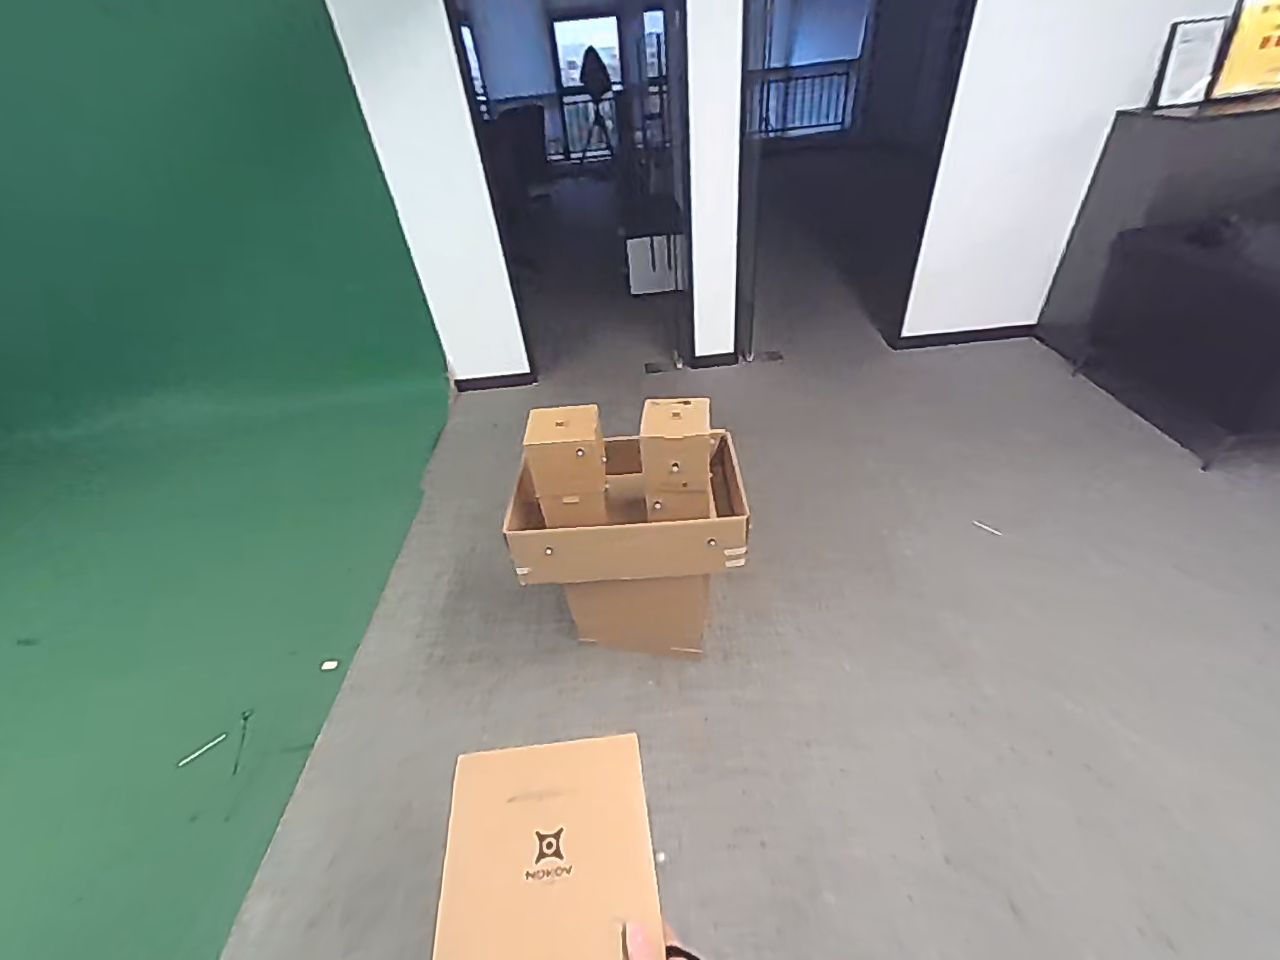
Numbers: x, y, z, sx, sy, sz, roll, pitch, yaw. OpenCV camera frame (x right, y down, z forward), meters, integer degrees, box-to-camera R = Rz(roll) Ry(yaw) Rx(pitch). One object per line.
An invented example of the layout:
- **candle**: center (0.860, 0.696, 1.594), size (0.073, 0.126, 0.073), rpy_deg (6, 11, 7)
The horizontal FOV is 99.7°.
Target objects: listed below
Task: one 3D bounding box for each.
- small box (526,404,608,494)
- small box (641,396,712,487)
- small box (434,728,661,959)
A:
- **small box**: center (-0.182, -0.078, 1.398), size (0.179, 0.176, 0.168), rpy_deg (-4, 39, 1)
- **small box**: center (0.099, -0.095, 1.373), size (0.168, 0.176, 0.179), rpy_deg (-1, 40, 8)
- **small box**: center (-0.072, 0.356, 0.490), size (0.168, 0.176, 0.179), rpy_deg (-3, 39, -5)
